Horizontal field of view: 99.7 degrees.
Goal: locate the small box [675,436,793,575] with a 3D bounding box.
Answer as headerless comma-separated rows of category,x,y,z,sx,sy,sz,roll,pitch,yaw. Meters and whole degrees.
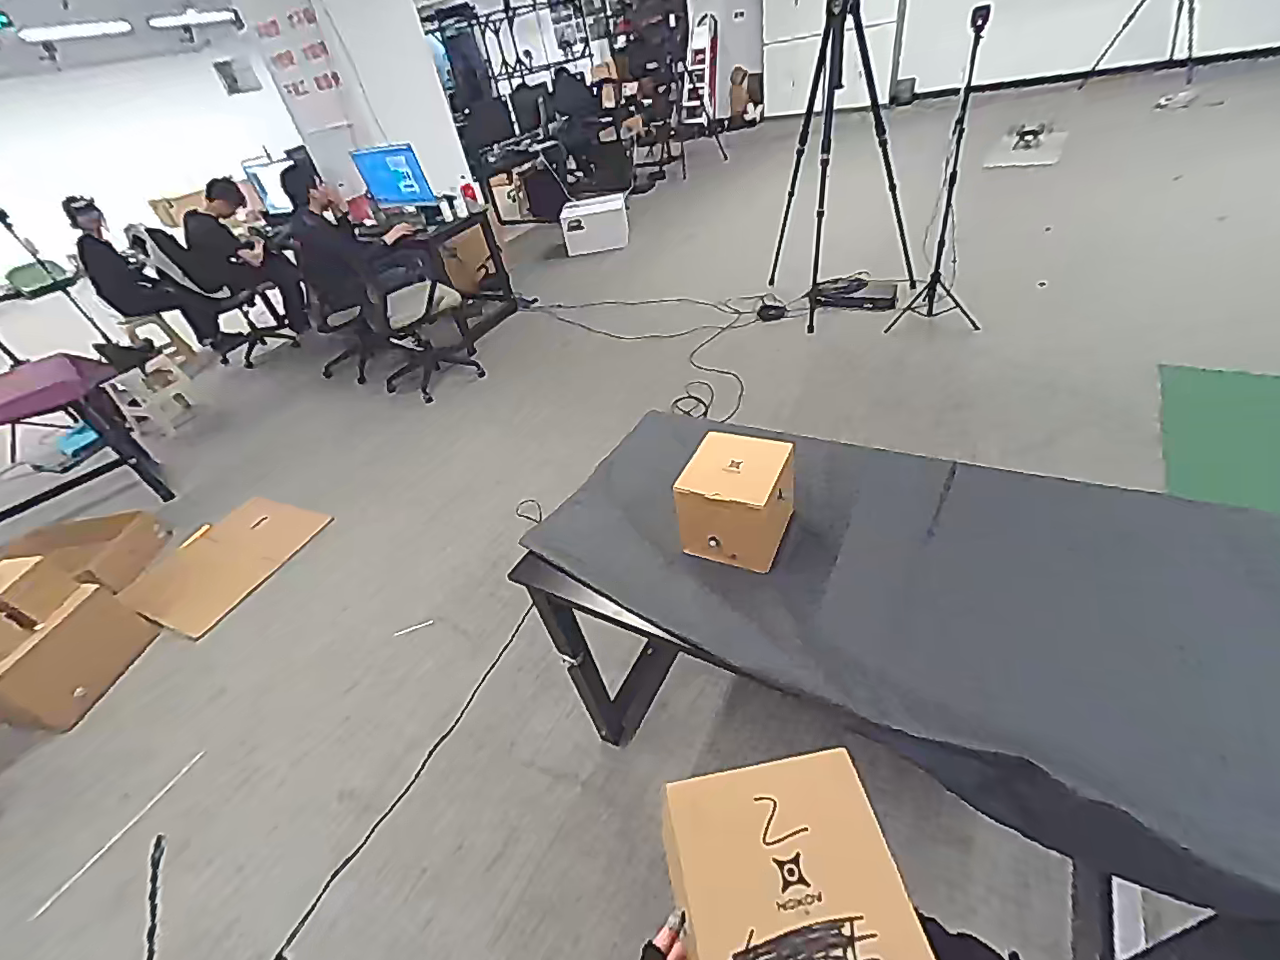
small box,0.181,0.045,1.016,0.168,0.176,0.179,12,46,26
